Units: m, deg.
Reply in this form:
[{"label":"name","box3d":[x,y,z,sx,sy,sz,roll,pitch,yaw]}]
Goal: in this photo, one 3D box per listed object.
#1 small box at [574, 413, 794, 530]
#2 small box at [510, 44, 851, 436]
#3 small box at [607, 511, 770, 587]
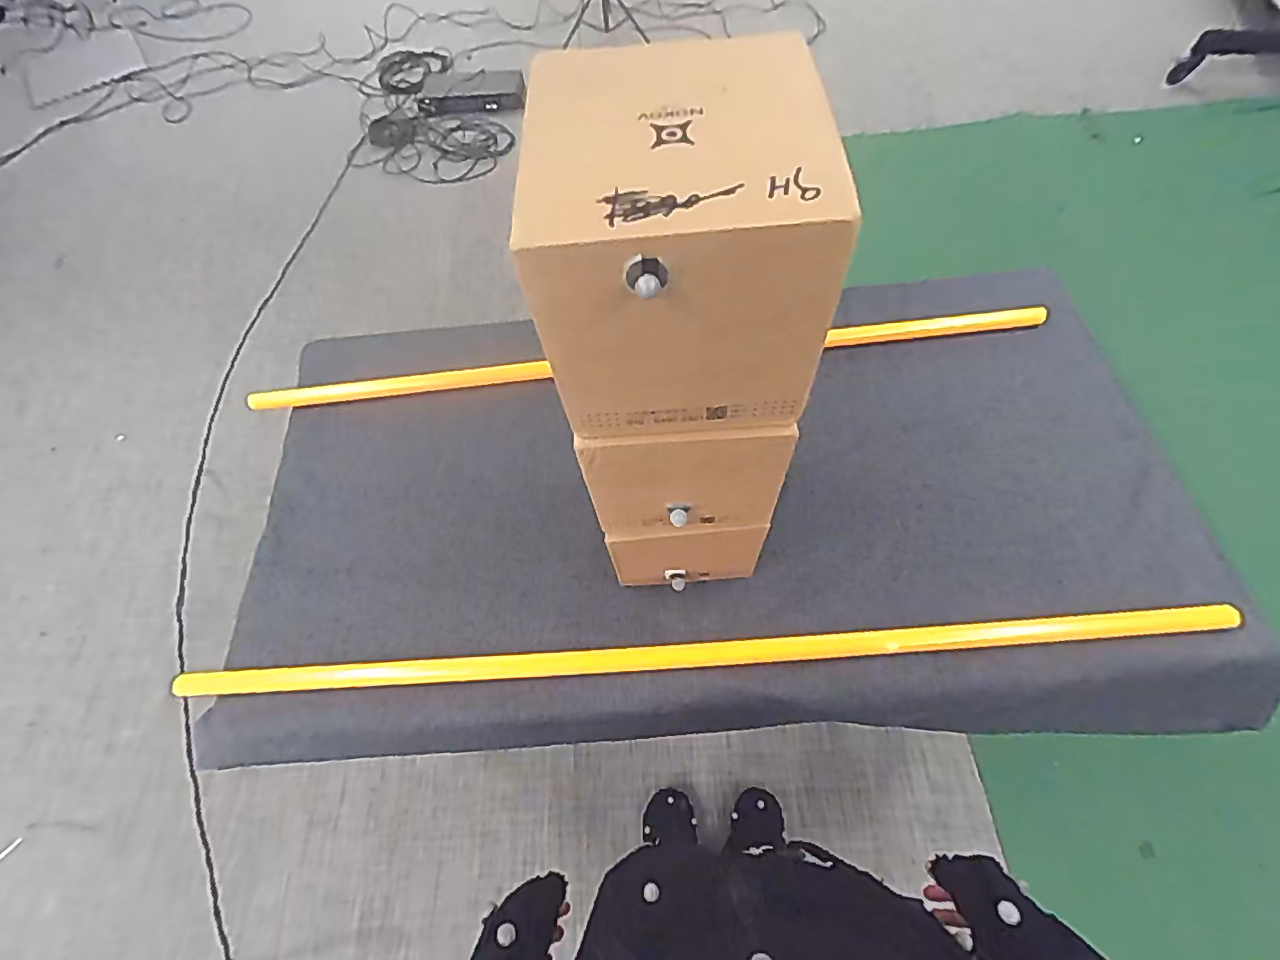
[{"label":"small box","box3d":[0.038,-0.066,0.507,0.168,0.176,0.179,-3,62,4]},{"label":"small box","box3d":[0.024,-0.150,0.366,0.168,0.176,0.179,-4,61,5]},{"label":"small box","box3d":[0.049,0.015,0.650,0.168,0.176,0.179,-7,63,2]}]
